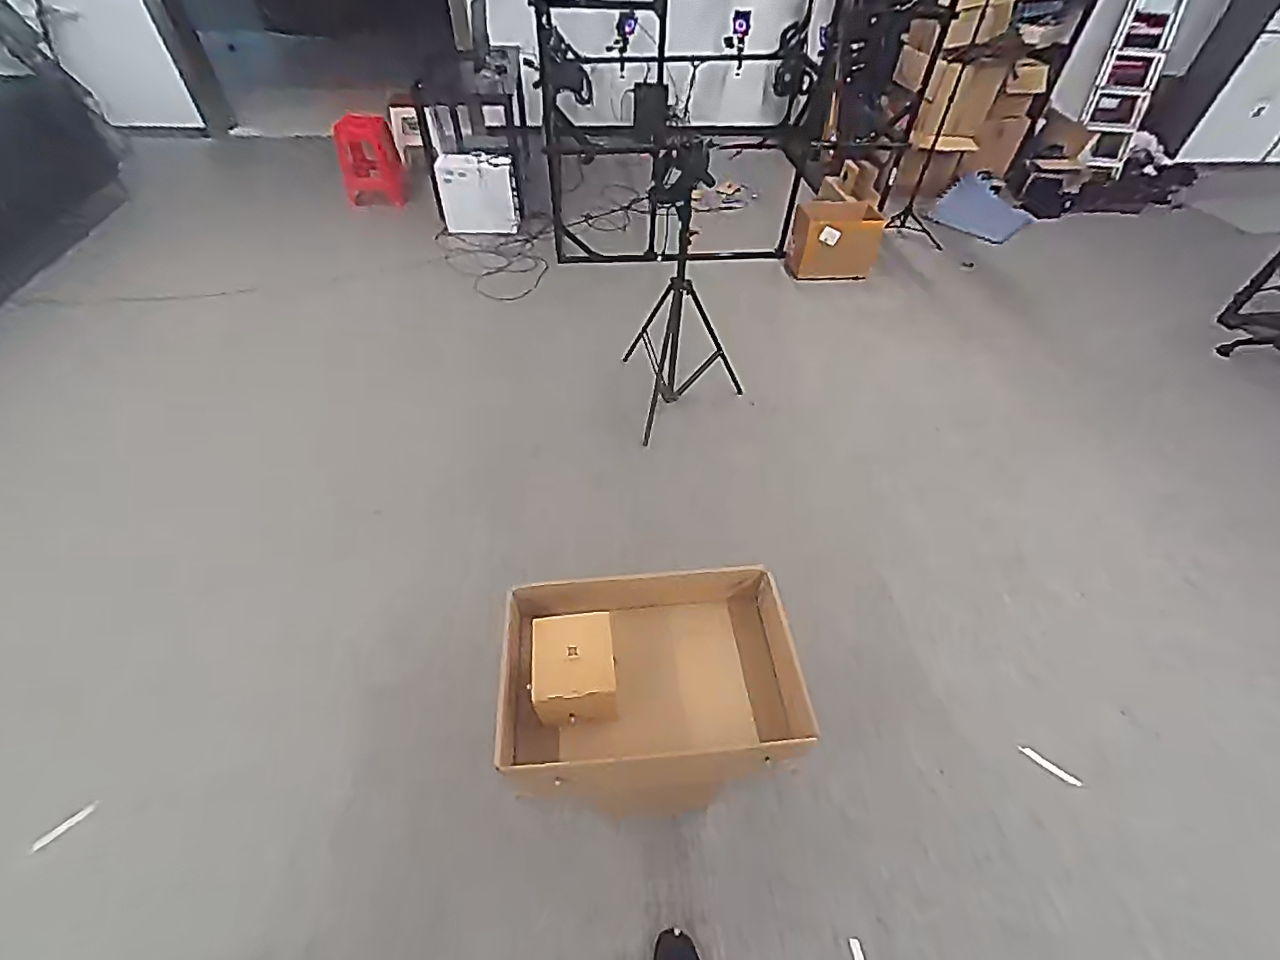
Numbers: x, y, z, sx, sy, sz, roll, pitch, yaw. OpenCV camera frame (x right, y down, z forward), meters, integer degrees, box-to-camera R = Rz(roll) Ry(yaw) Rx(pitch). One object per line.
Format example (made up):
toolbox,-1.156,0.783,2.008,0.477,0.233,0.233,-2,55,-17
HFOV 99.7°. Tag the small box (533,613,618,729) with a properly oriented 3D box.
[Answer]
small box,-0.136,0.409,1.157,0.168,0.176,0.179,-5,49,-5
